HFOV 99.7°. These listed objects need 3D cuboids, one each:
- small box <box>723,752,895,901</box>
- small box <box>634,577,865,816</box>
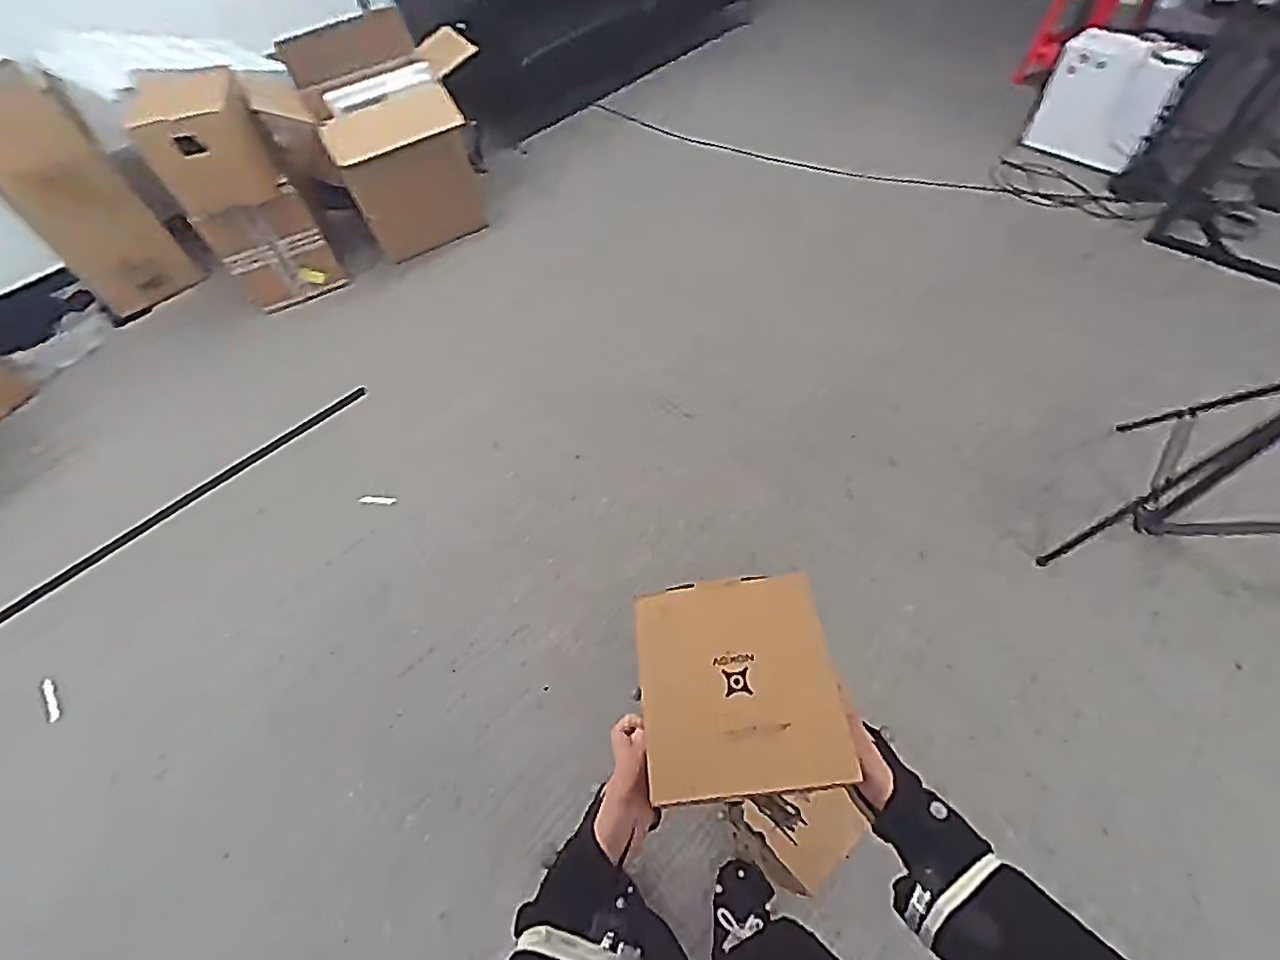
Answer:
[{"bbox_3d":[0.219,0.446,0.762,0.179,0.176,0.168,-38,60,-19],"label":"small box"},{"bbox_3d":[0.088,0.212,0.520,0.168,0.176,0.179,-8,60,1],"label":"small box"}]
